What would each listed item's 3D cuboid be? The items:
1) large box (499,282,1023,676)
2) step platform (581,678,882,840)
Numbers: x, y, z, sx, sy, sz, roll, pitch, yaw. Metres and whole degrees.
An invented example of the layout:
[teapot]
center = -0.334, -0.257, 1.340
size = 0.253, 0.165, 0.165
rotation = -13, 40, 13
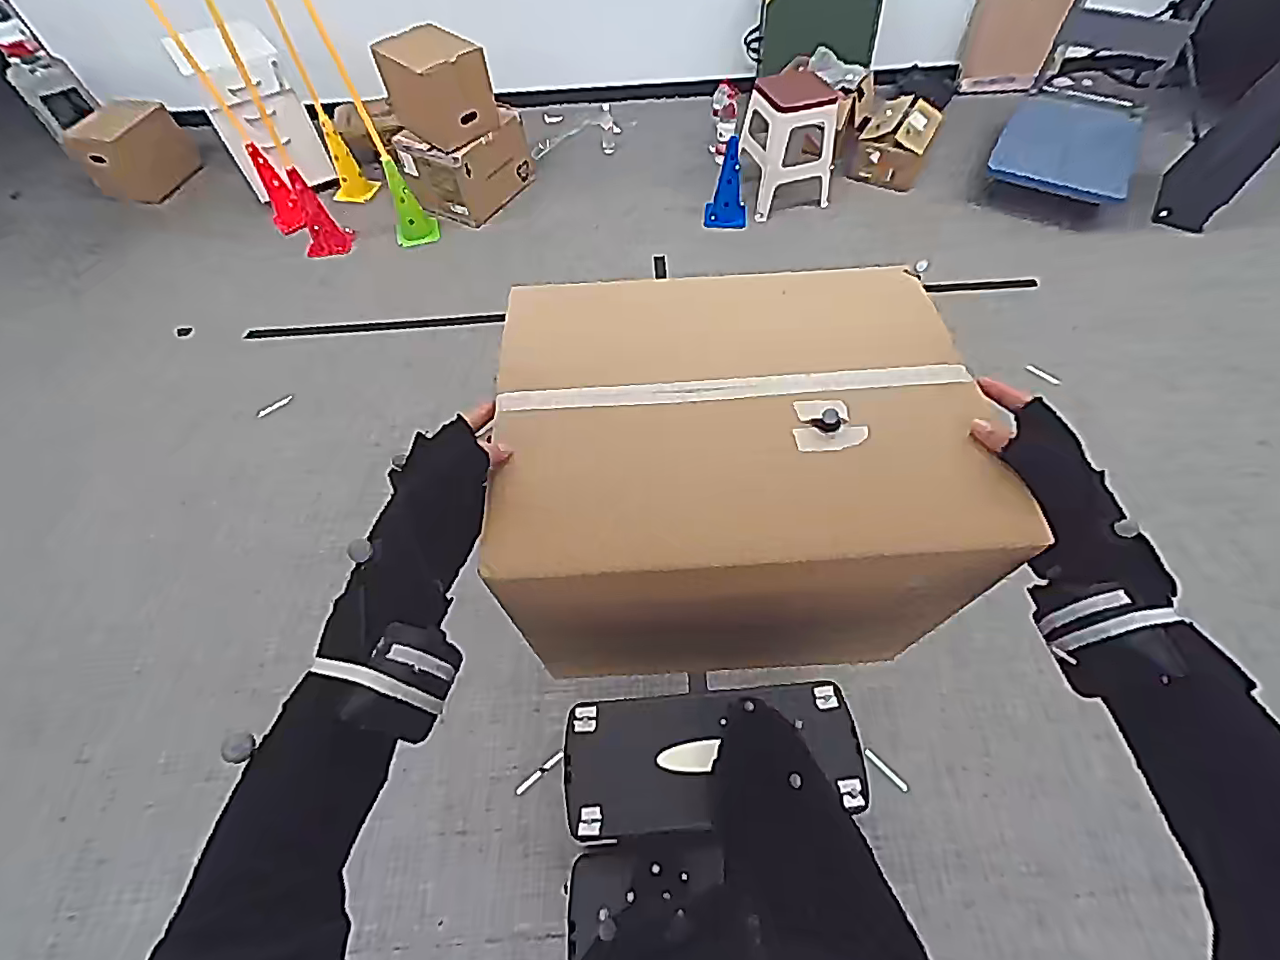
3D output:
[large box]
center = 0.084, 0.013, 0.605
size = 0.408, 0.320, 0.320
rotation = -3, 57, -1
[step platform]
center = 0.201, 0.658, 1.290
size = 0.684, 0.204, 0.286
rotation = -5, 57, -2
